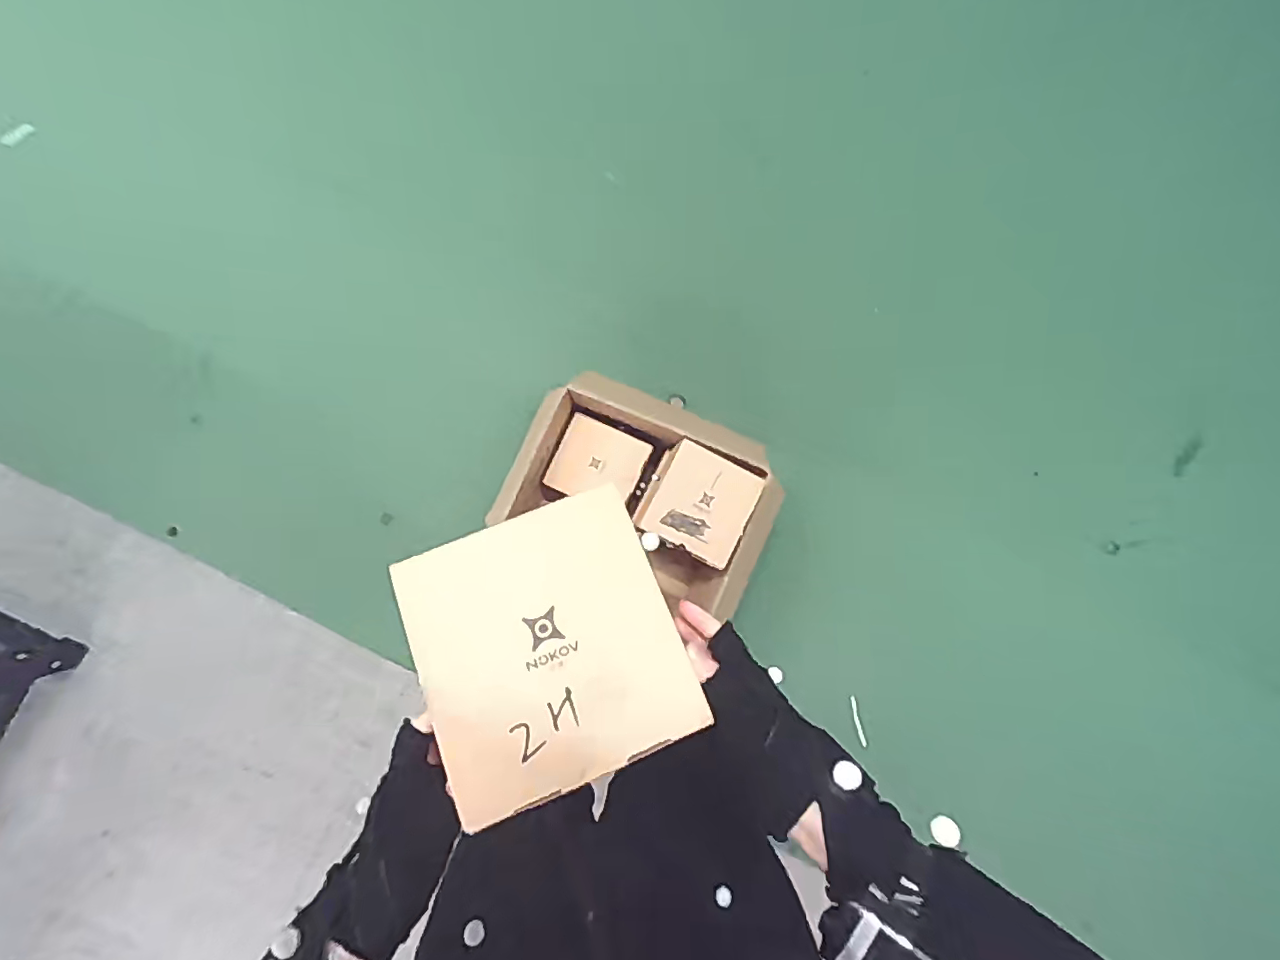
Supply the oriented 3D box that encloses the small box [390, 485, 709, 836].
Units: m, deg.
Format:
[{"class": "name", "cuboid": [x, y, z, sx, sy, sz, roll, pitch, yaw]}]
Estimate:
[{"class": "small box", "cuboid": [-0.064, 0.131, 0.427, 0.168, 0.176, 0.179, -22, 75, -7]}]
